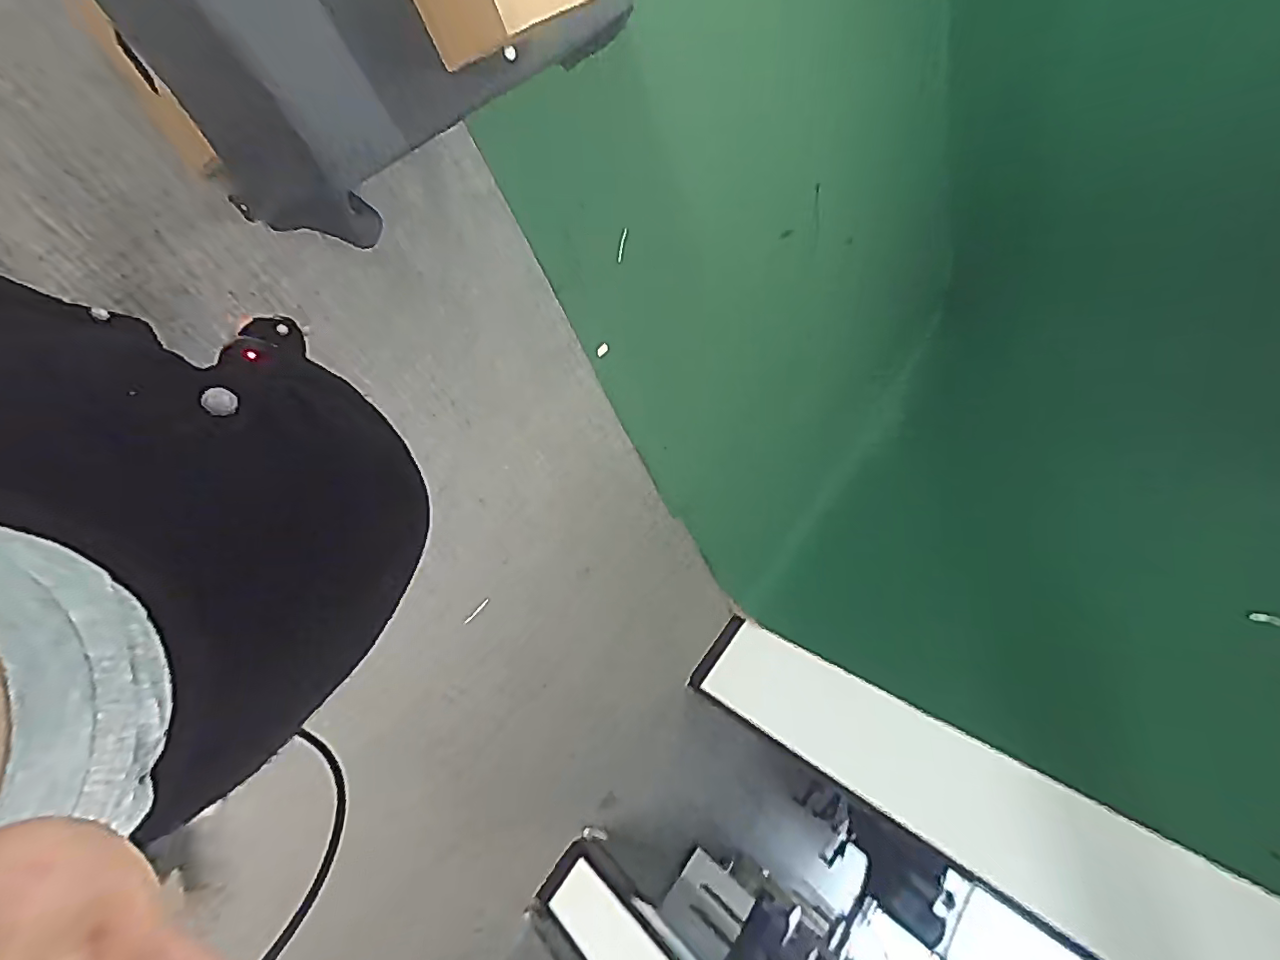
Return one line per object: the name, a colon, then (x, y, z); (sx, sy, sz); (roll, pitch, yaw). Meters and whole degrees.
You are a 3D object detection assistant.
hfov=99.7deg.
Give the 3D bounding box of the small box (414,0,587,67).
small box: (-0.192, -0.662, 0.674); (0.168, 0.176, 0.179); (-46, 133, -23)
